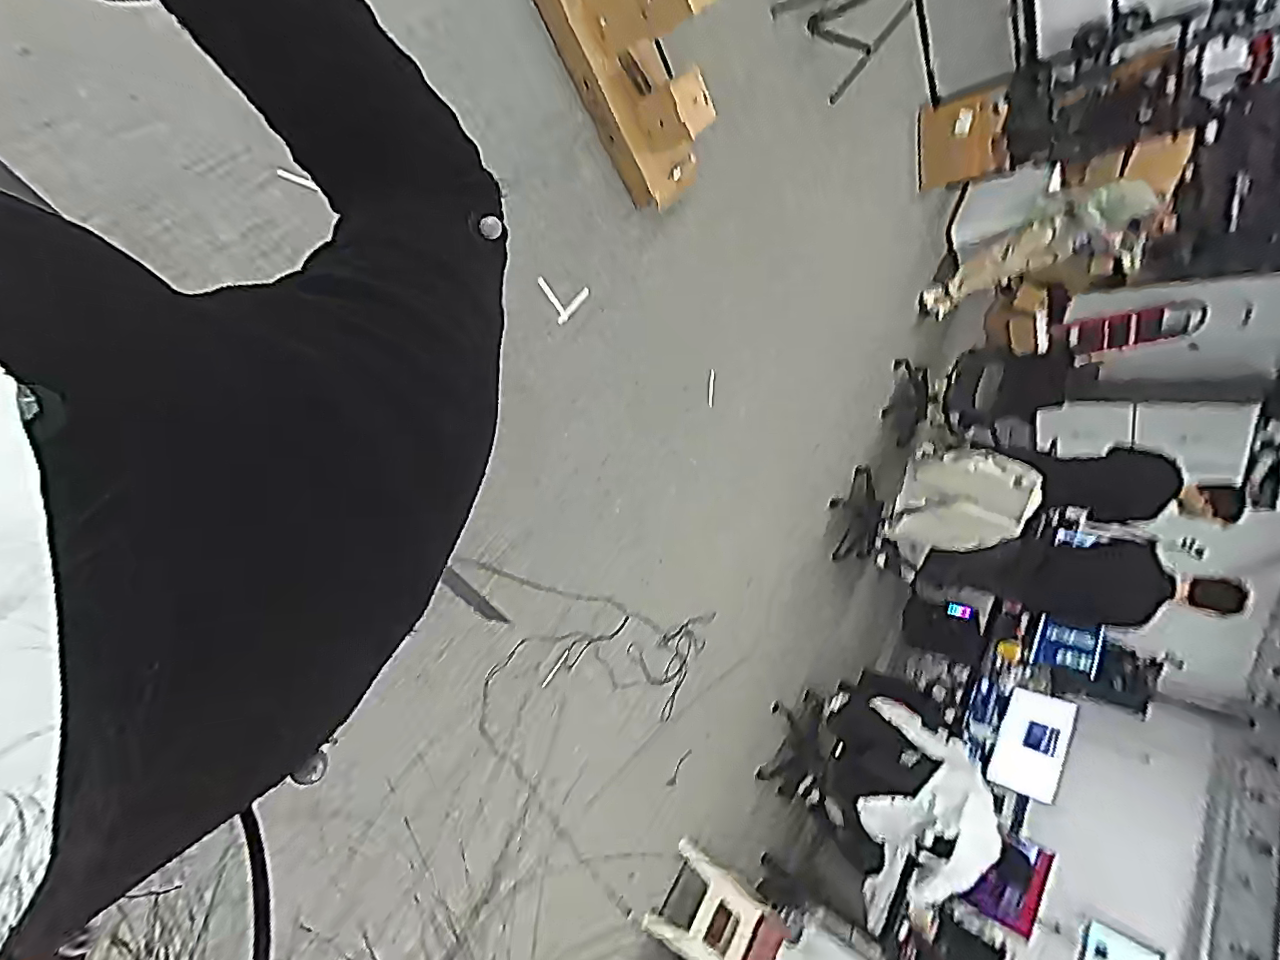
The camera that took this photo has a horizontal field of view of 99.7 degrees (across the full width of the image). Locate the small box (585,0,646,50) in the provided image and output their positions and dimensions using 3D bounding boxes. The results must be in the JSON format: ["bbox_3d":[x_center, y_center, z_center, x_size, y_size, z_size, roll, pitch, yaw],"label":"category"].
[{"bbox_3d":[-0.036,-1.435,1.607,0.179,0.176,0.168,-54,130,-23],"label":"small box"}]

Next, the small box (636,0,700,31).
[{"bbox_3d":[0.092,-1.408,1.504,0.179,0.176,0.168,-53,129,-24],"label":"small box"}]

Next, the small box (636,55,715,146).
[{"bbox_3d":[0.111,-1.243,1.784,0.179,0.176,0.168,-54,129,-23],"label":"small box"}]
